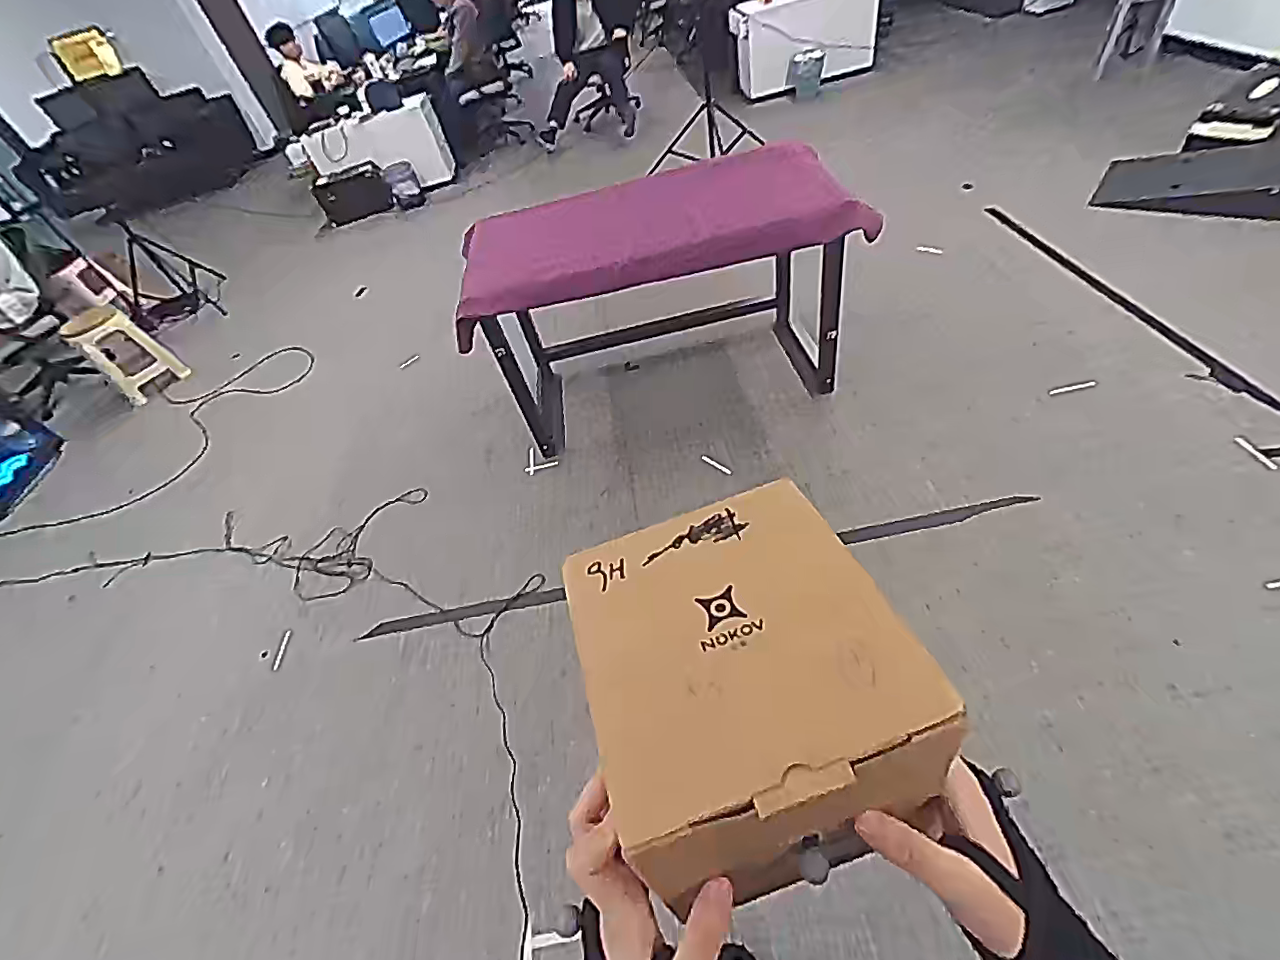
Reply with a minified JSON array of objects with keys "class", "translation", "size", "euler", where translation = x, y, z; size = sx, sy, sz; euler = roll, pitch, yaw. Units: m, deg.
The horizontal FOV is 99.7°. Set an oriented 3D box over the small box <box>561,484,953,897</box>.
[{"class":"small box","translation":[0.062,0.139,0.353],"size":[0.168,0.176,0.179],"euler":[-20,41,-3]}]
